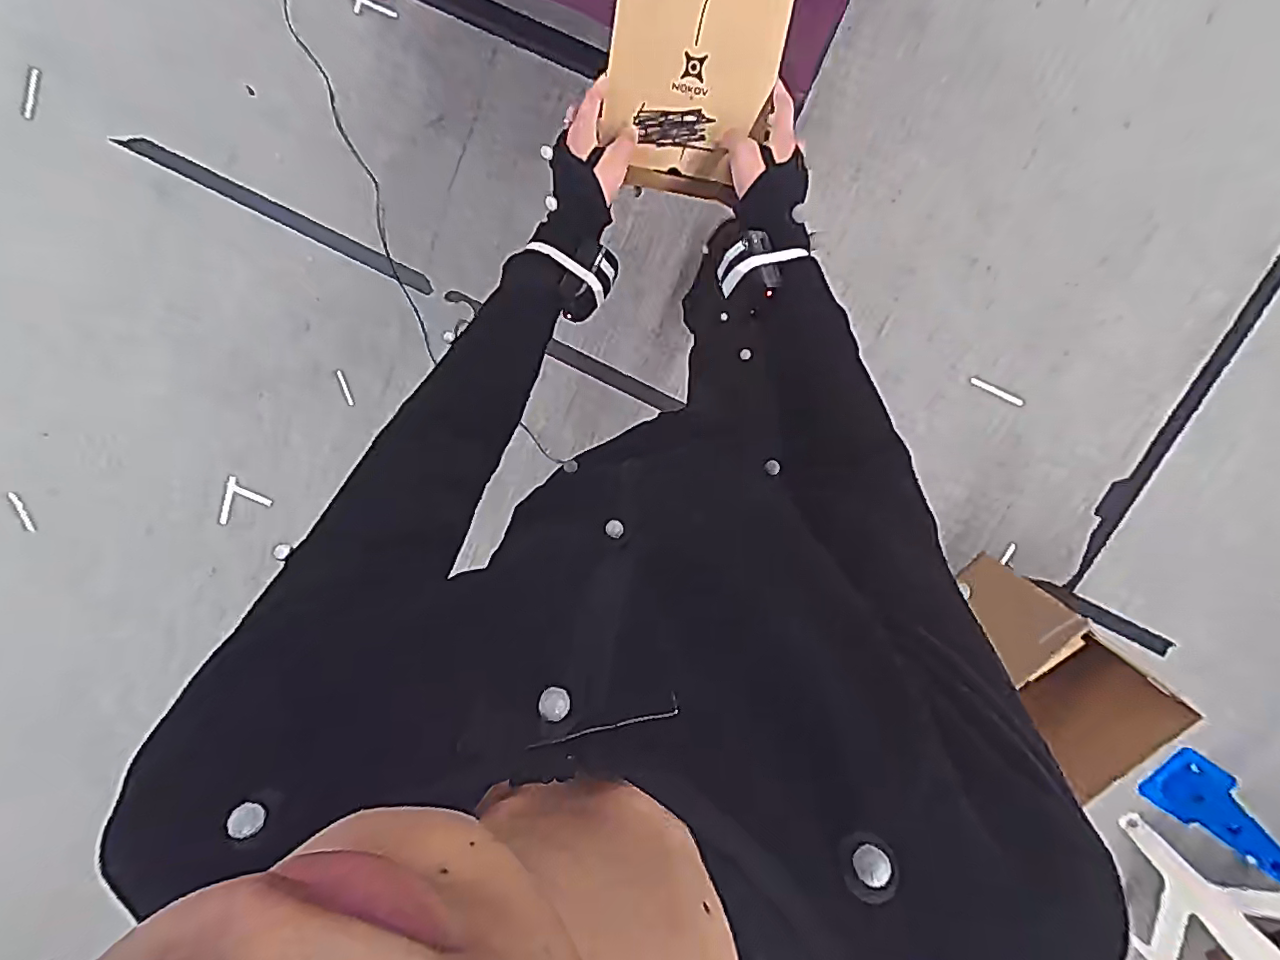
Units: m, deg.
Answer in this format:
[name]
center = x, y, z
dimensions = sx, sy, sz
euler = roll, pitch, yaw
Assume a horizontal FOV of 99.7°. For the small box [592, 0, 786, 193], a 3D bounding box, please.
[small box]
center = 0.051, -0.433, 0.600
dimensions = 0.168, 0.176, 0.179
euler = 11, 112, 0
